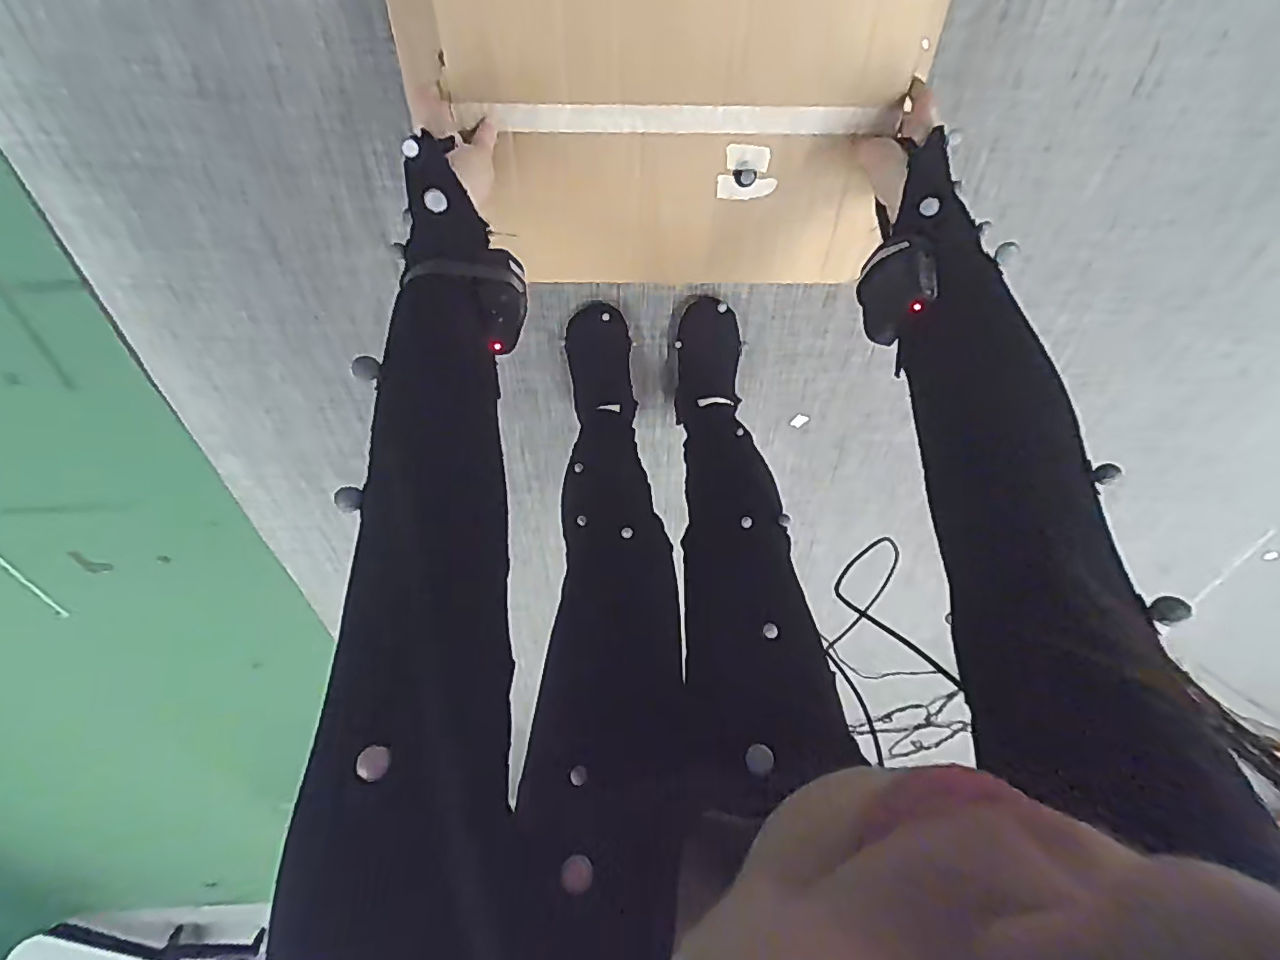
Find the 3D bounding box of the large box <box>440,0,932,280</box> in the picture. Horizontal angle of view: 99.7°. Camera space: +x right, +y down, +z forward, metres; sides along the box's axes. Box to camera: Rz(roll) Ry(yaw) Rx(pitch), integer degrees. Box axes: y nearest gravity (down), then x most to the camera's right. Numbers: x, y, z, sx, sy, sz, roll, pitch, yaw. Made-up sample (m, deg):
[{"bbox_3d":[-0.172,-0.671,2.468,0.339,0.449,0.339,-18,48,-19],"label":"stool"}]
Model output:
[{"bbox_3d":[0.030,-0.436,0.592,0.408,0.320,0.320,-2,135,-3],"label":"large box"}]
